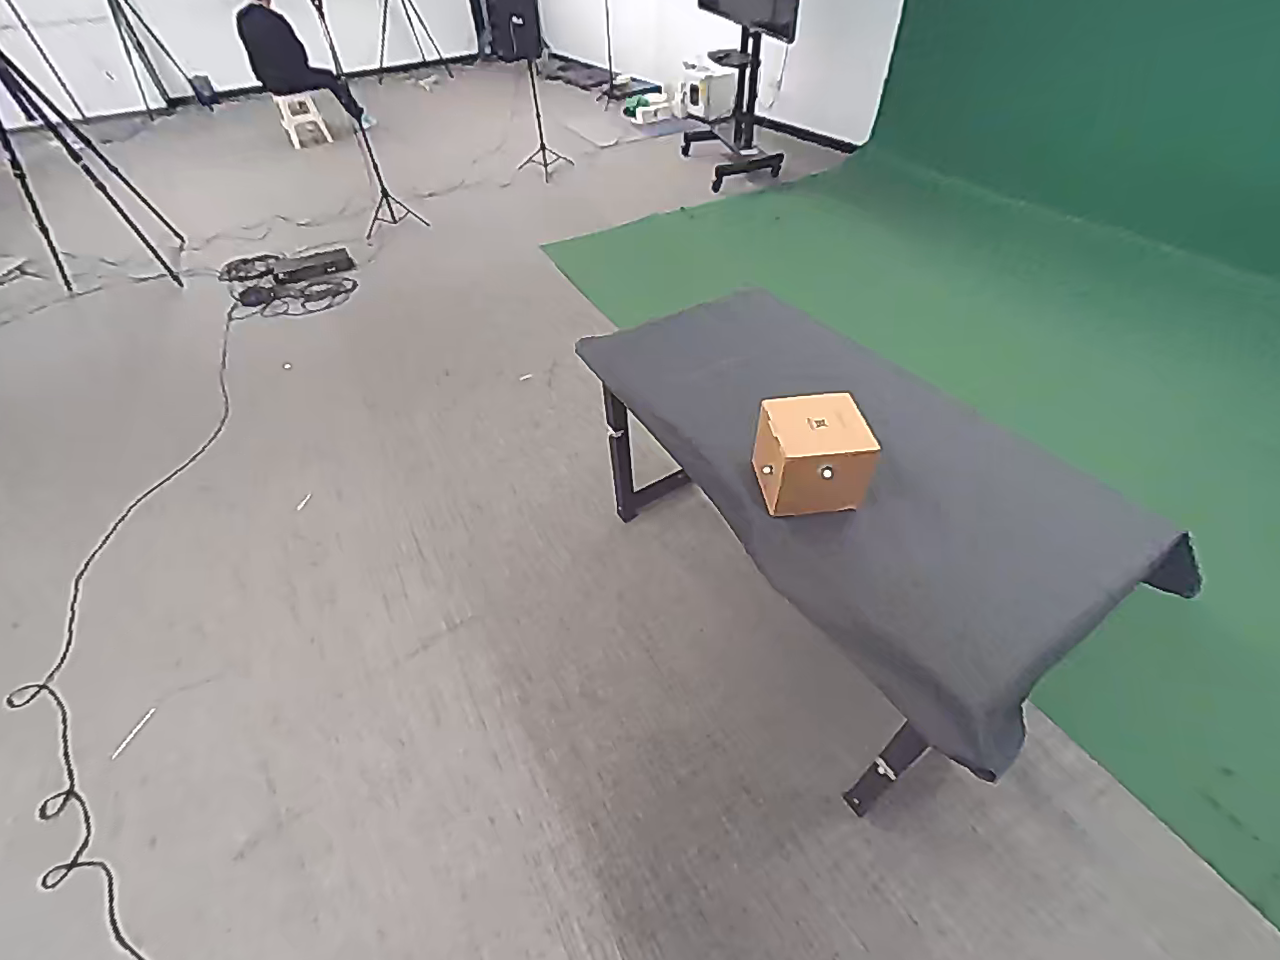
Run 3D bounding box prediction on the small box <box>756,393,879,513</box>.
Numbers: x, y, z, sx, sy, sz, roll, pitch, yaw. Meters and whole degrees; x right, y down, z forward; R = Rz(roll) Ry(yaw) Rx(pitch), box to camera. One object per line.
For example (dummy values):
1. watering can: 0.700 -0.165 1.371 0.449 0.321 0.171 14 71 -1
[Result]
1. small box: 0.333 -0.049 1.063 0.179 0.176 0.168 -5 48 -3
